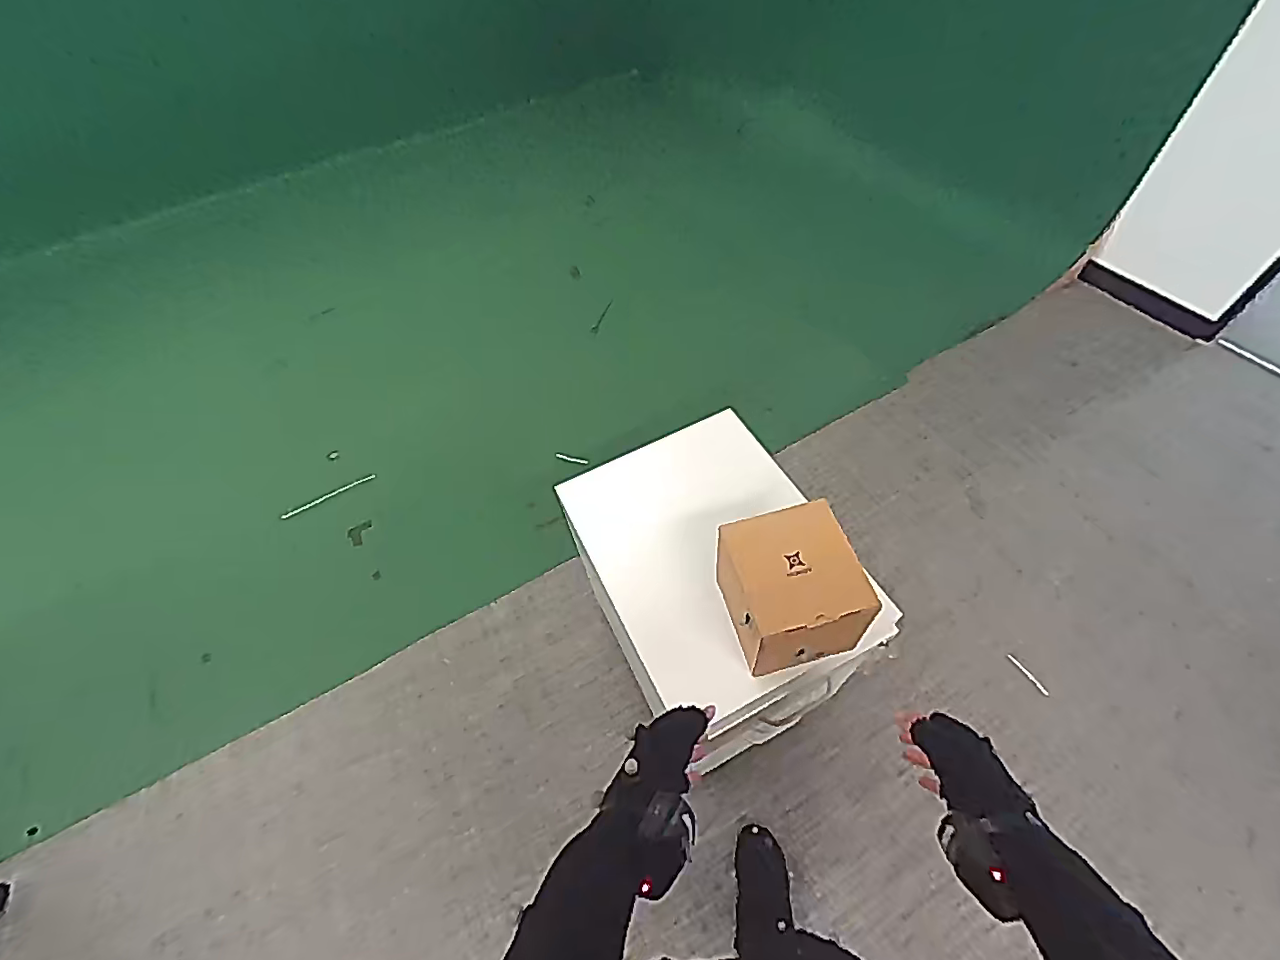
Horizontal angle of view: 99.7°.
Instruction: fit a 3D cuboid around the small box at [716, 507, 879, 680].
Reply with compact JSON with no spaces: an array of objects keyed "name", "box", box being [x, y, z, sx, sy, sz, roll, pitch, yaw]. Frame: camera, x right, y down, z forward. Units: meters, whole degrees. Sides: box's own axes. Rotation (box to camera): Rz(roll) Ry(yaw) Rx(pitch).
[{"name":"small box","box":[0.215,0.170,0.799,0.168,0.176,0.179,-14,54,-4]}]
